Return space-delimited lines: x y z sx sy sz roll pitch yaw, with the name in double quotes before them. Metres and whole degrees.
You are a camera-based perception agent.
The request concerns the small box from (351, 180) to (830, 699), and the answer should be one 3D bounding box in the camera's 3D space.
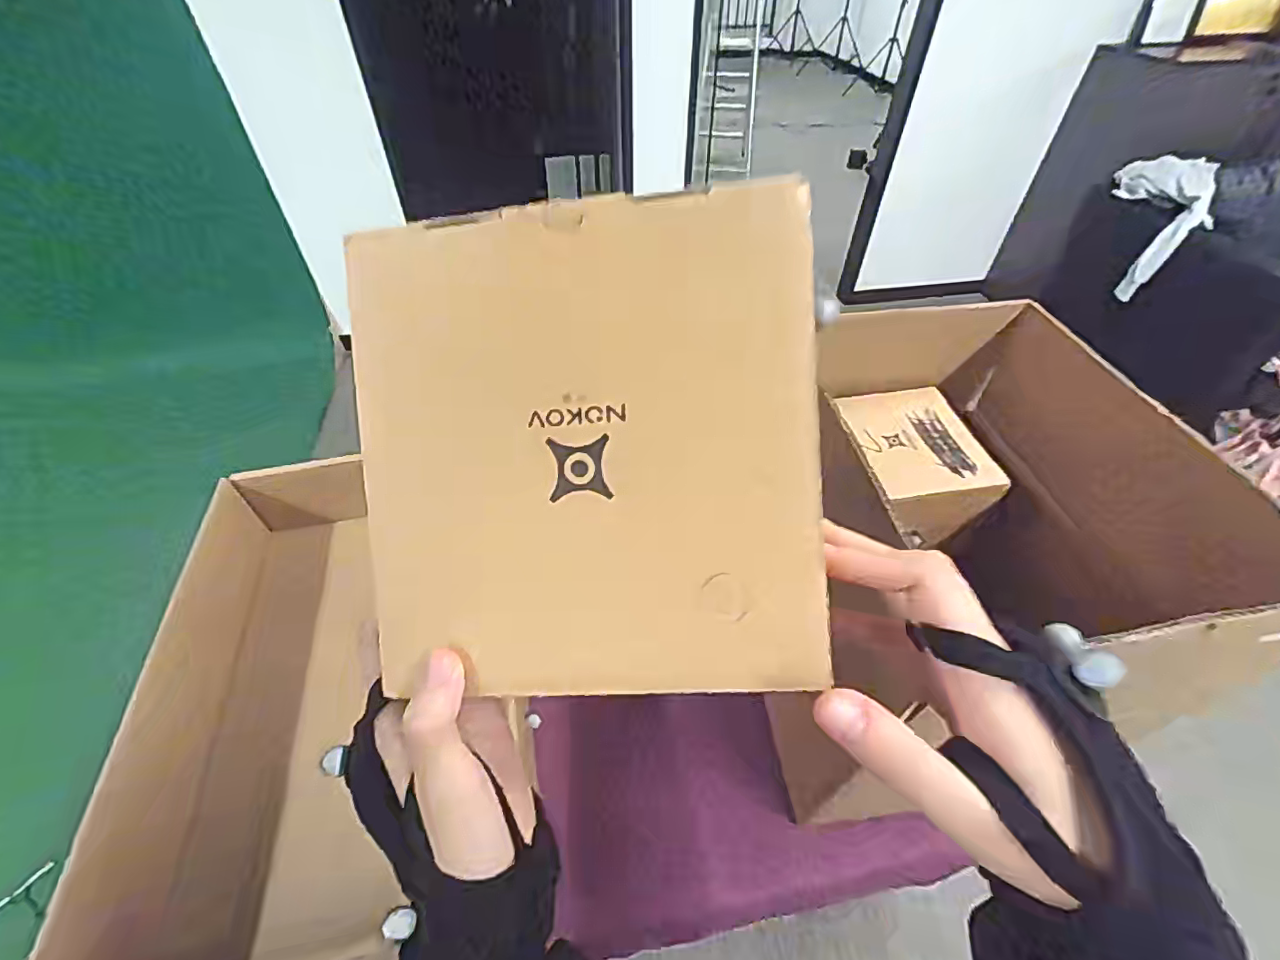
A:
"small box" -0.008 -0.013 0.270 0.168 0.179 0.176 -4 3 8
